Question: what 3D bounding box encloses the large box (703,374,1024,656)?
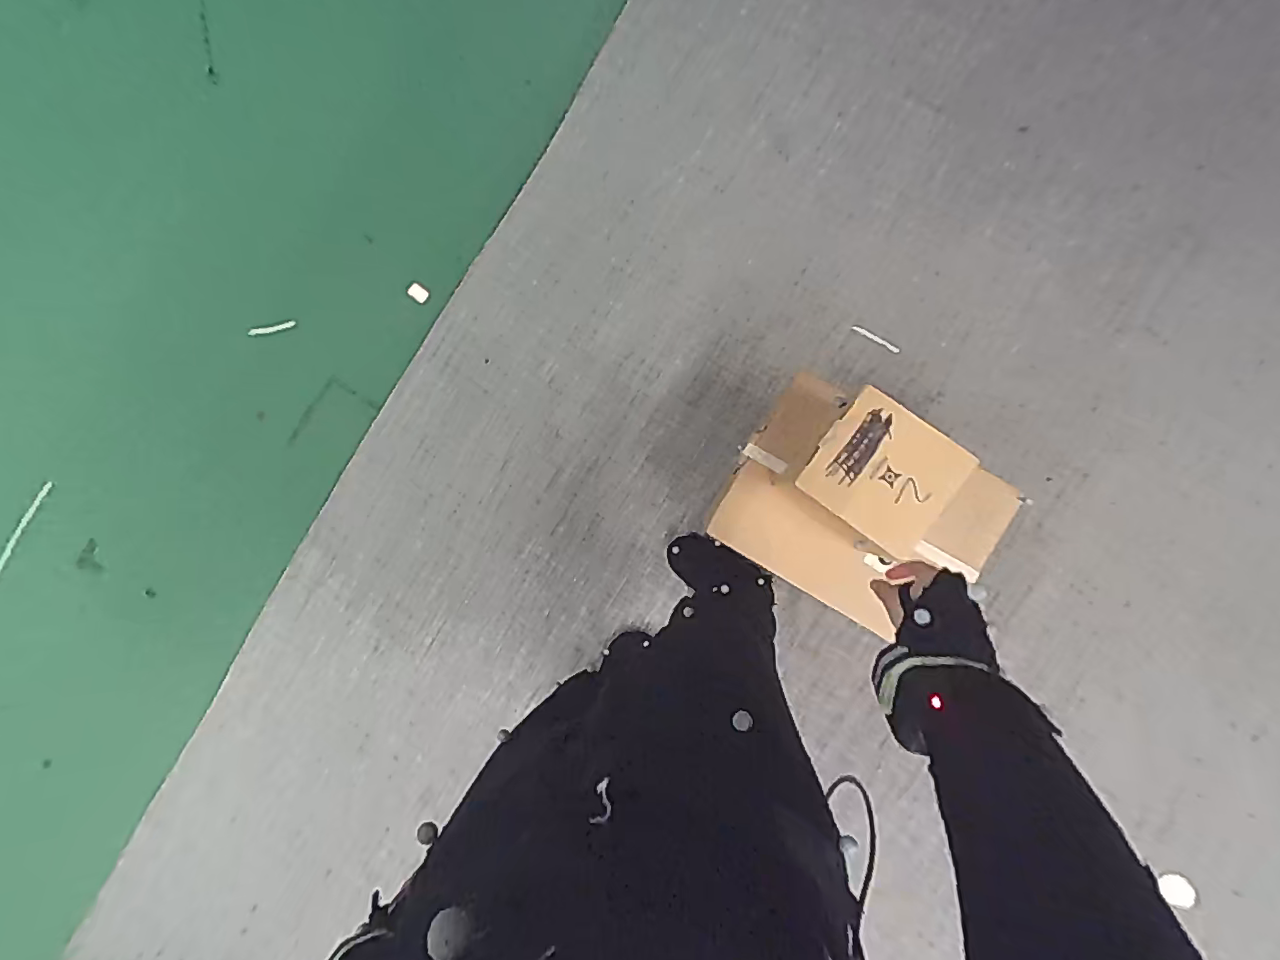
[{"bbox_3d":[0.370,0.056,1.015,0.408,0.320,0.320,31,92,4],"label":"large box"}]
